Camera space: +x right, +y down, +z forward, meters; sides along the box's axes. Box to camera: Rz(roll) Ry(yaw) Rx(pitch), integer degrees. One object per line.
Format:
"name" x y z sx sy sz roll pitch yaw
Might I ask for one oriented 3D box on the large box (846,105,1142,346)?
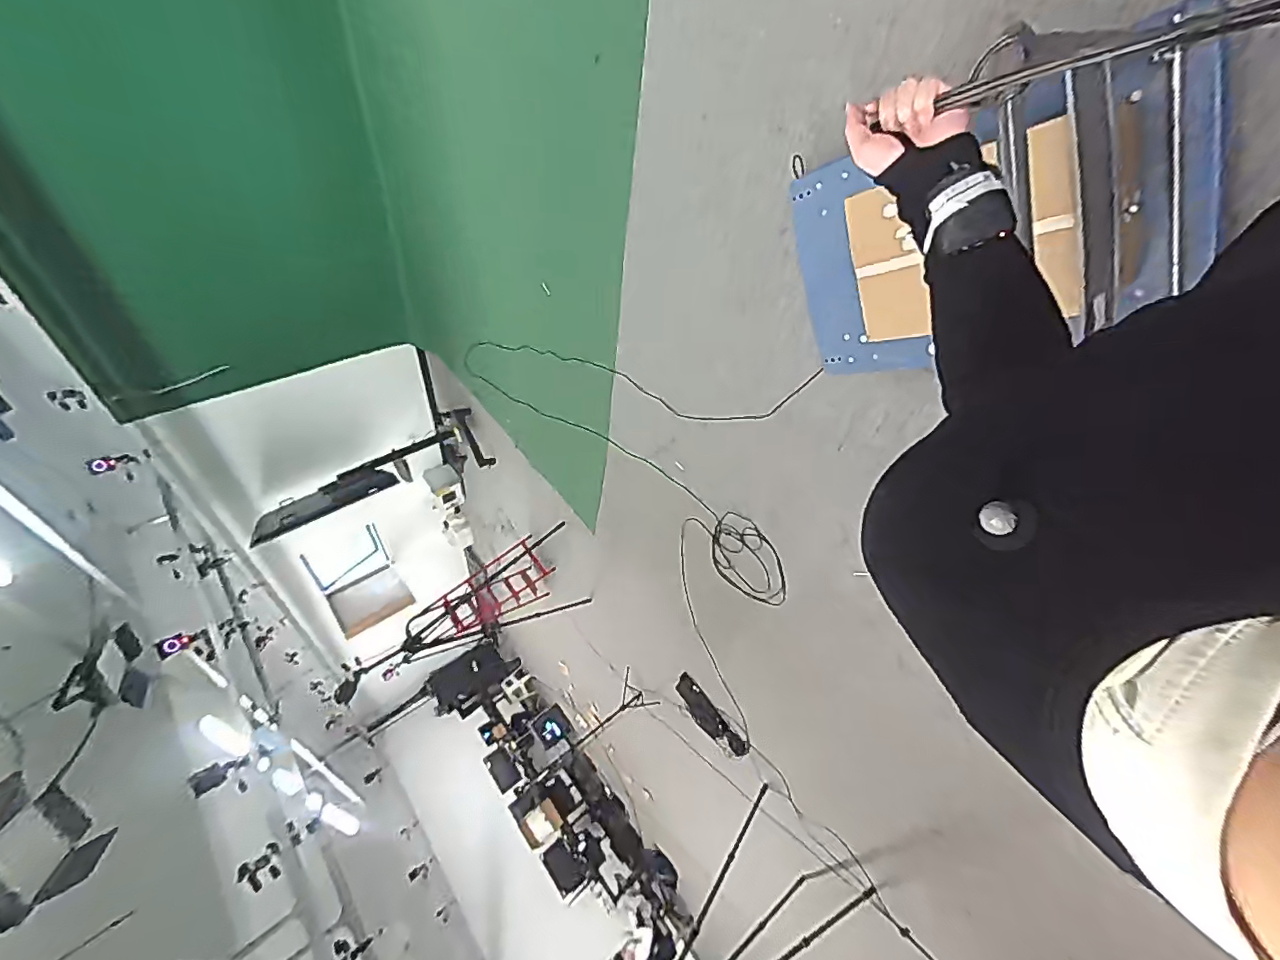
"large box" 0.707 -0.491 1.100 0.408 0.320 0.320 9 120 56
